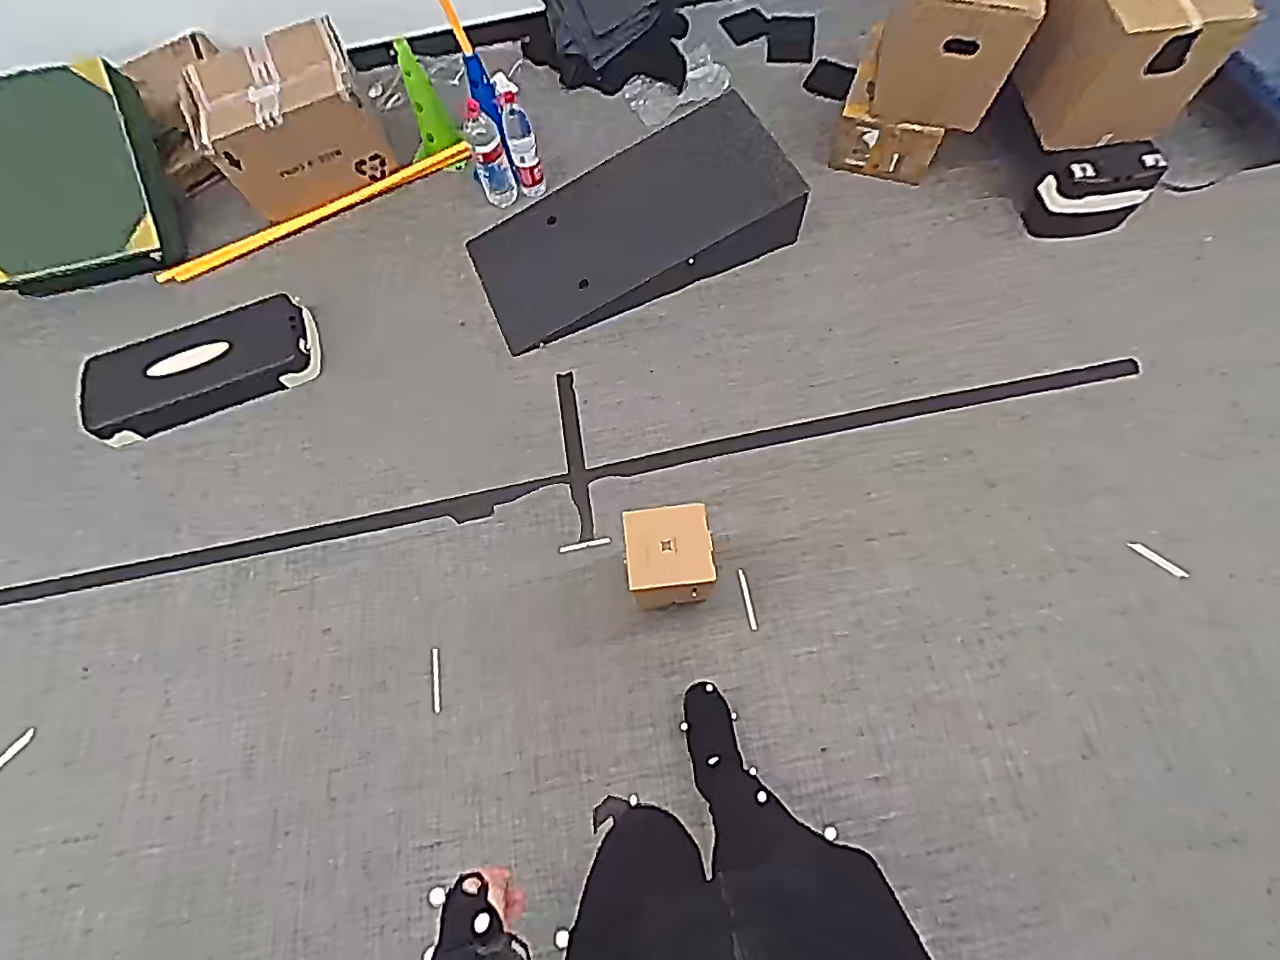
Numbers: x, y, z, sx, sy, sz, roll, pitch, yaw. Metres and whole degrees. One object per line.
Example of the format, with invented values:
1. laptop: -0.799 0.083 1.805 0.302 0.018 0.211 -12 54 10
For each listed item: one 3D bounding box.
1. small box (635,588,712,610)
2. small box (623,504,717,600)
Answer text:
1. small box: 0.066 0.213 1.307 0.179 0.176 0.168 -9 70 -1
2. small box: 0.062 0.158 1.152 0.179 0.176 0.168 -7 70 2
